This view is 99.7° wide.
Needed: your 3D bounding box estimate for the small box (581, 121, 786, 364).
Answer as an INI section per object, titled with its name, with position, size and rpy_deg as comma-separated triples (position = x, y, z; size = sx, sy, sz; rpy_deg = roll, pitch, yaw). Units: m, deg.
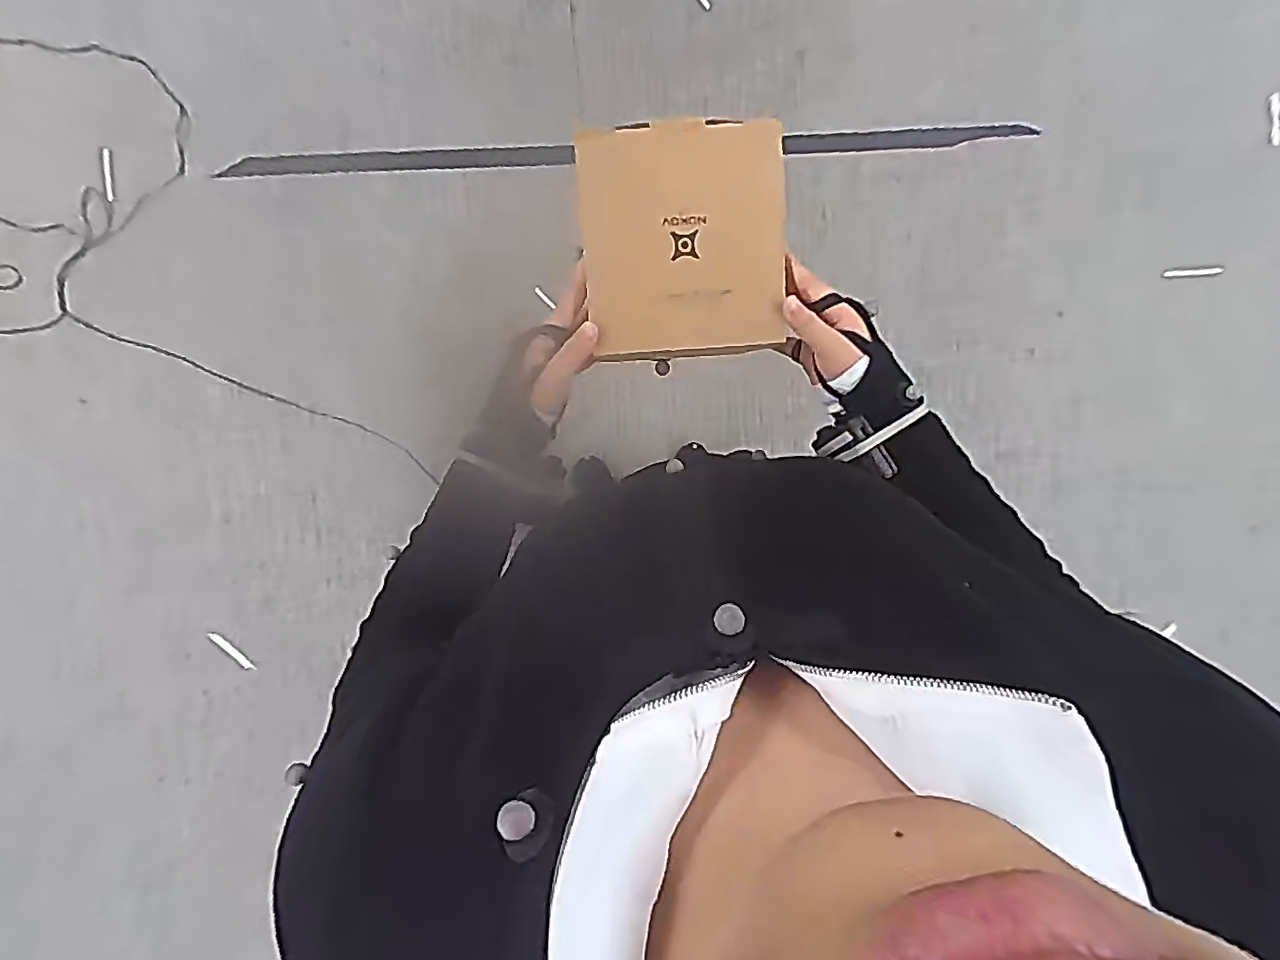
[small box]
position = 0.033, -0.208, 0.517
size = 0.168, 0.176, 0.179
rpy_deg = -4, 101, -2
